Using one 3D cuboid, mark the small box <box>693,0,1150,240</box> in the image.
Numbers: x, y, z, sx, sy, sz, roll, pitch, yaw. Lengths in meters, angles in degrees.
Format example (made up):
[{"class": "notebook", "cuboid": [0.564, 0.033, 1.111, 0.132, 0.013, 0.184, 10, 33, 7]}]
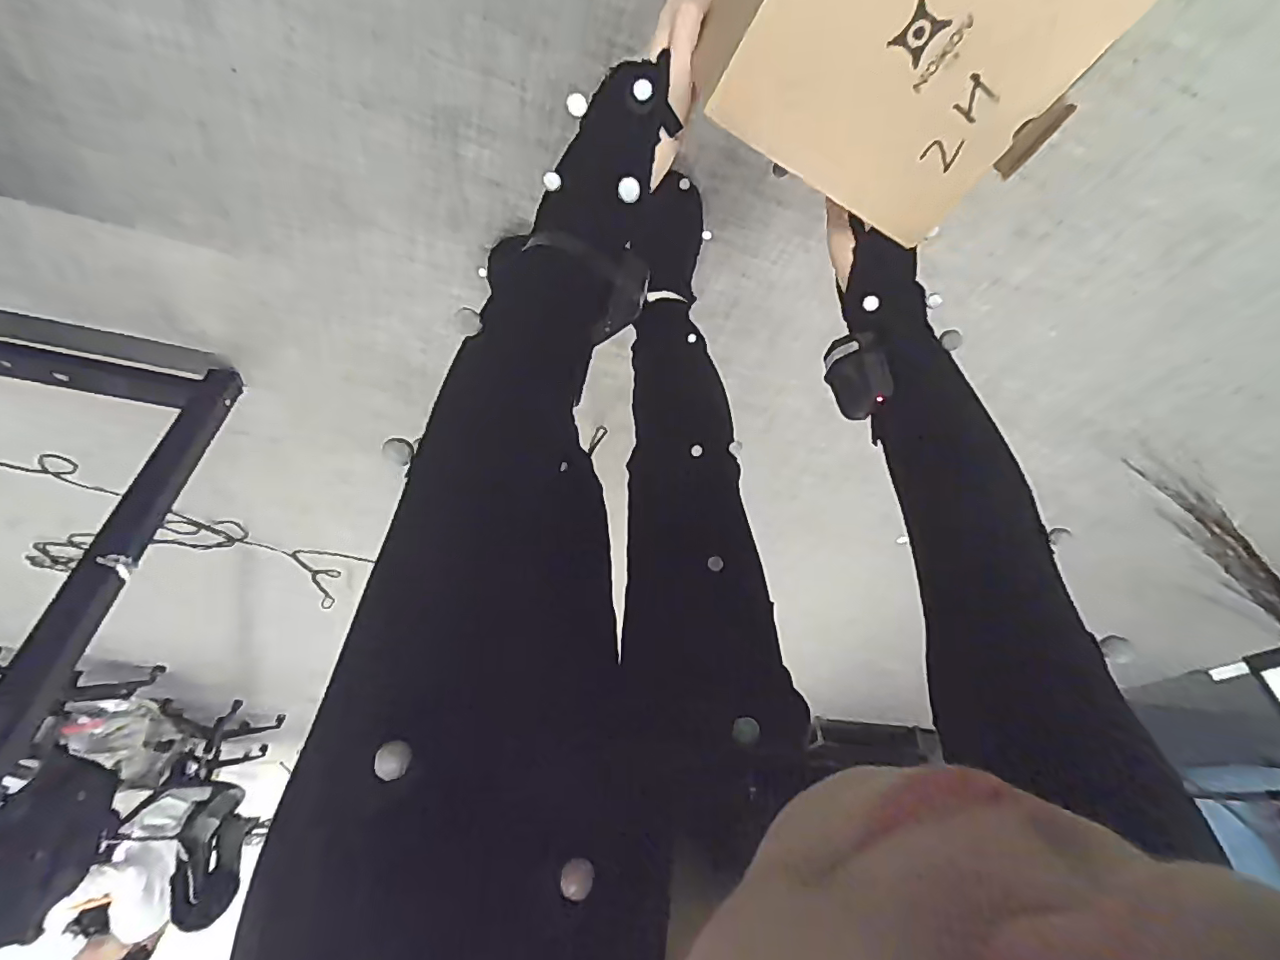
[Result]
[{"class": "small box", "cuboid": [0.144, -0.290, 0.321, 0.179, 0.176, 0.168, 18, 140, -22]}]
